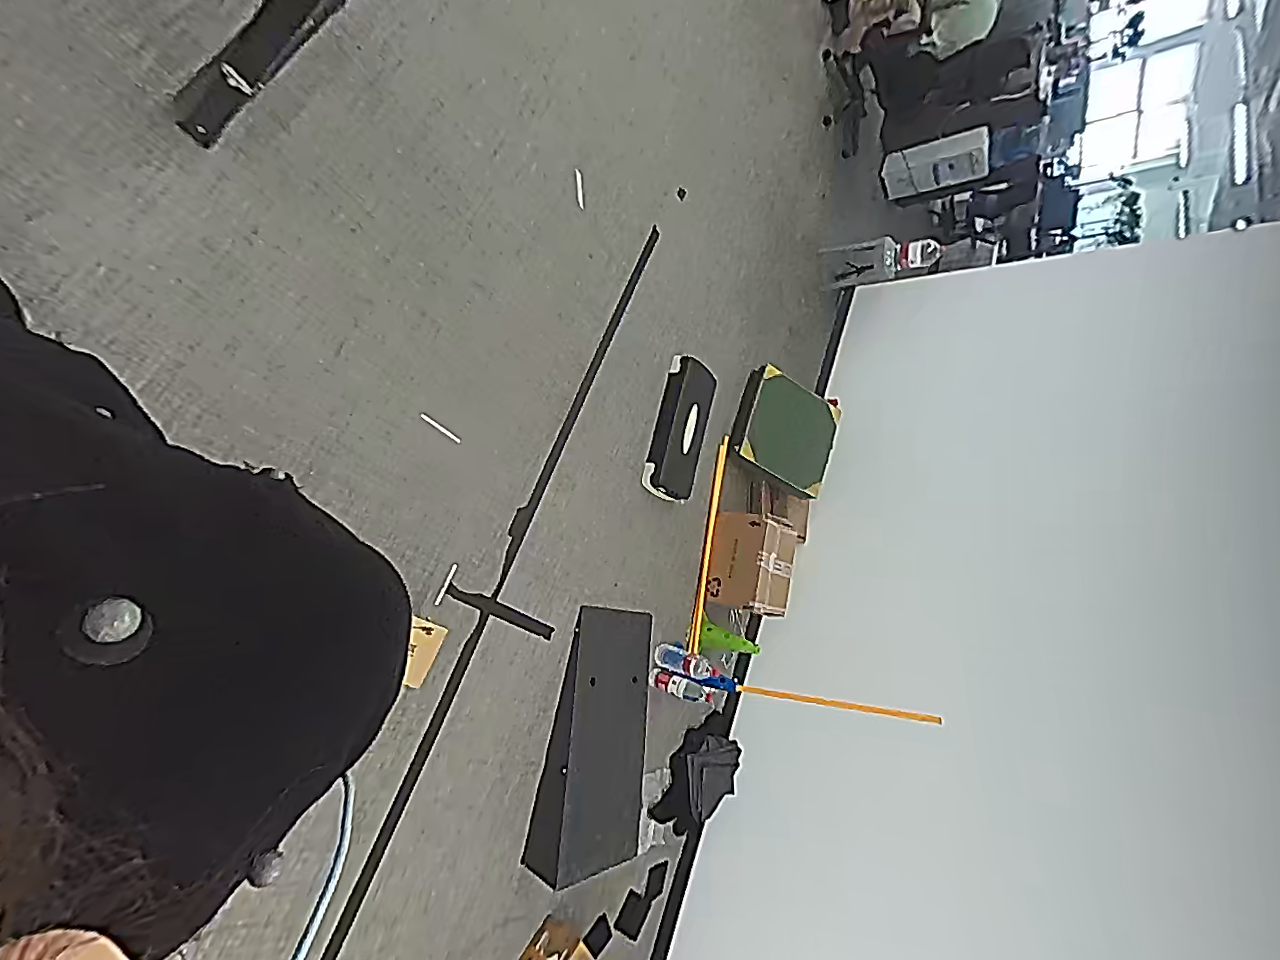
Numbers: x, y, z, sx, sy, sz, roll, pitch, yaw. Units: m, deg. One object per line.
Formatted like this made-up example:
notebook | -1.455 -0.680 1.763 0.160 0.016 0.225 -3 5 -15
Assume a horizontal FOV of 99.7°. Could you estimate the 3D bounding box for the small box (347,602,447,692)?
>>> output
small box | -0.683 0.462 1.507 0.168 0.176 0.179 44 62 -44
